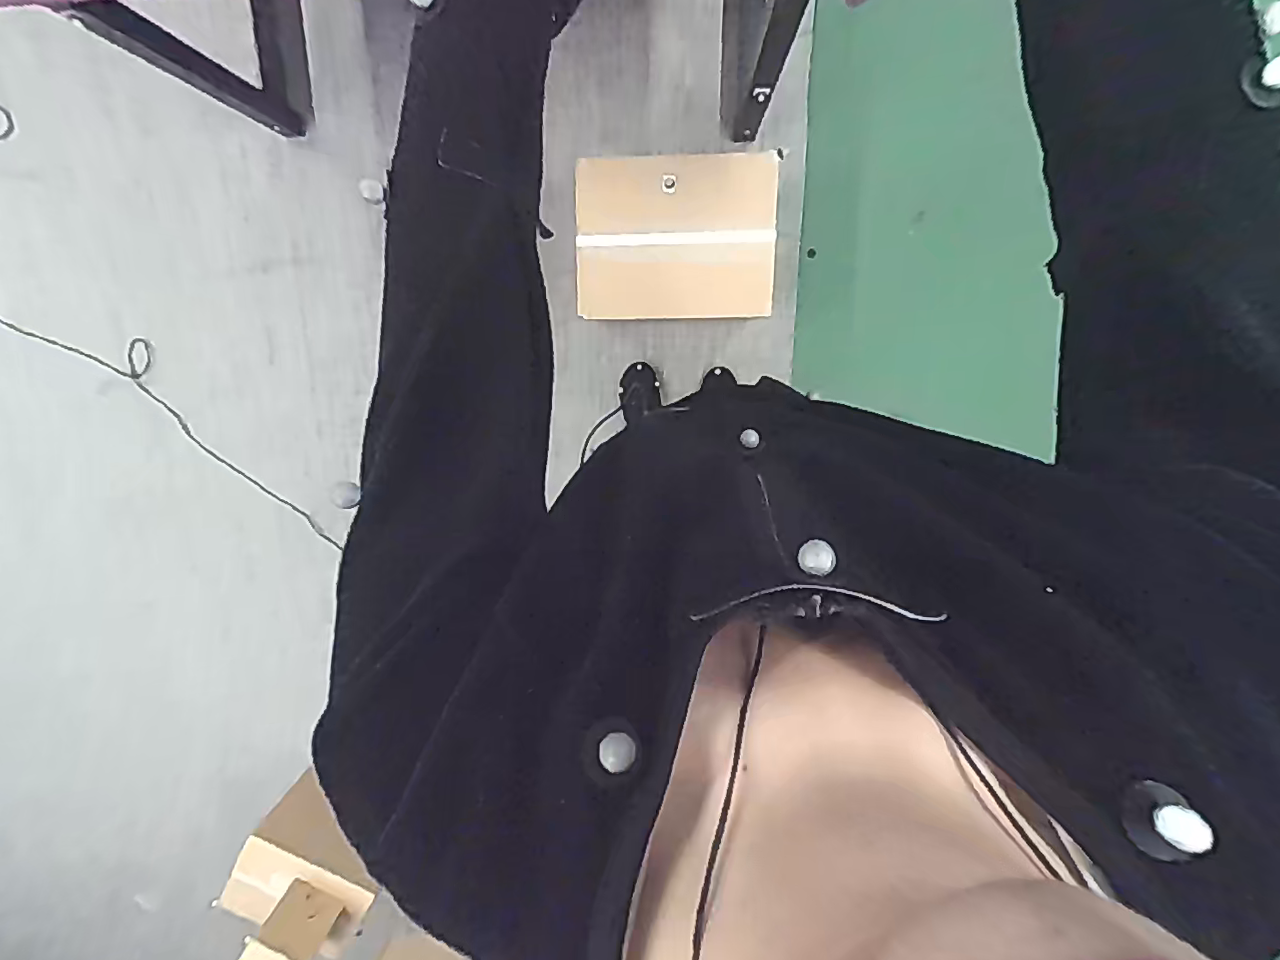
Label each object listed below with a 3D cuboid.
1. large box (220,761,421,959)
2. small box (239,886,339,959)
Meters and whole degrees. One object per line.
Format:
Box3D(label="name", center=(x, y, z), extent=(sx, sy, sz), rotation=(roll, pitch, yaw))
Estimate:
Box3D(label="large box", center=(-0.991, 1.193, 1.718), extent=(0.408, 0.320, 0.320), rotation=(29, 103, -2))
Box3D(label="small box", center=(-0.974, 1.281, 1.488), extent=(0.168, 0.176, 0.179), rotation=(34, 104, -4))
